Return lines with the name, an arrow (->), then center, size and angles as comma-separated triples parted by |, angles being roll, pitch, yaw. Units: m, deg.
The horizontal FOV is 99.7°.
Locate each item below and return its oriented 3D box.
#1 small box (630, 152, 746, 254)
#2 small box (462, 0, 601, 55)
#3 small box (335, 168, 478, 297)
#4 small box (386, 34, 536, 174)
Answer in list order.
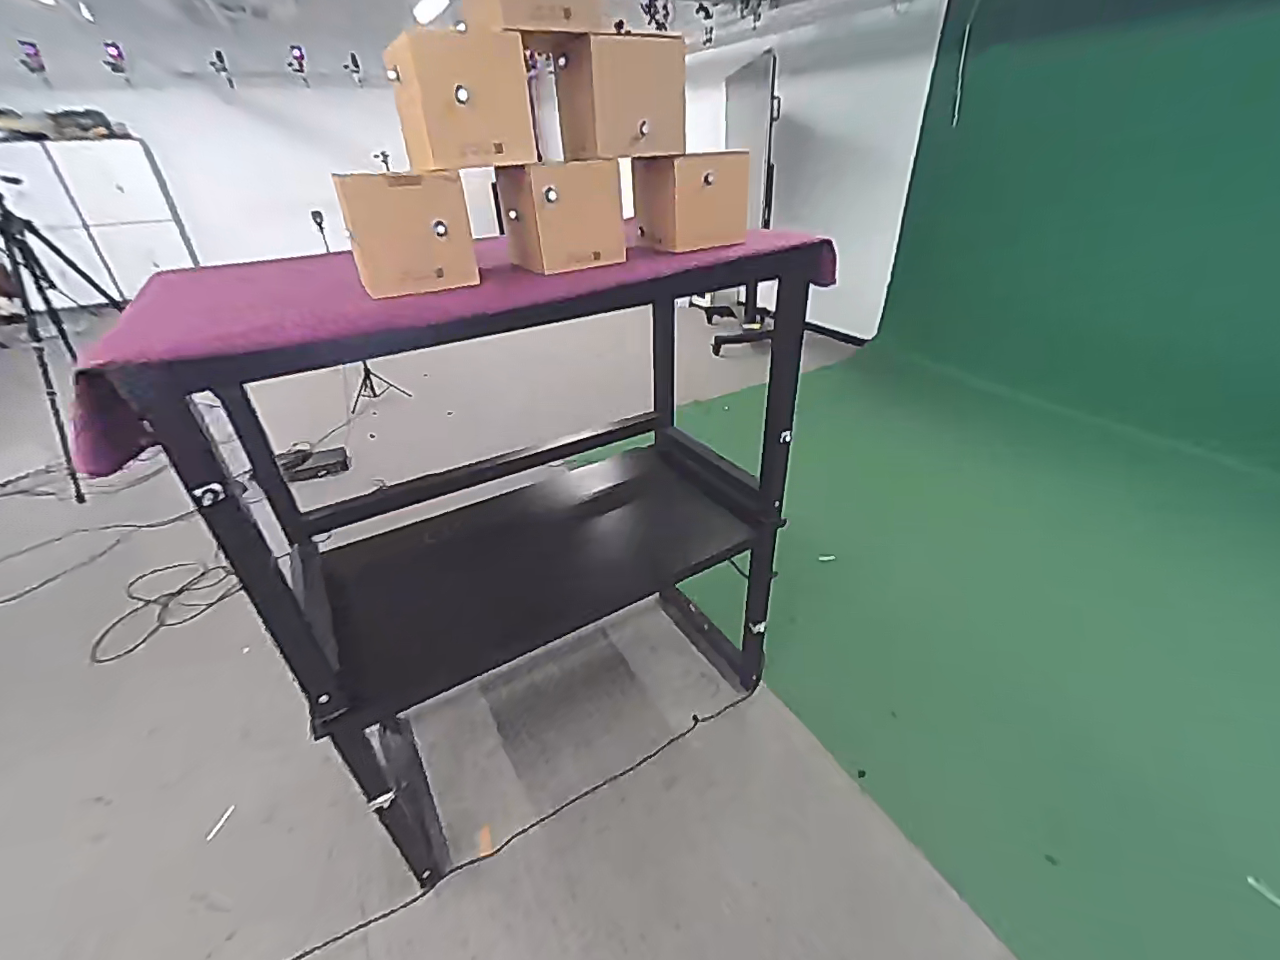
small box -> 0.097, -0.568, 1.108 | 0.179, 0.176, 0.168 | -19, 36, -25
small box -> -0.171, -0.763, 0.821 | 0.168, 0.176, 0.179 | -20, 35, -25
small box -> -0.374, -0.400, 0.873 | 0.168, 0.176, 0.179 | -18, 34, -24
small box -> -0.278, -0.581, 0.852 | 0.168, 0.176, 0.179 | -20, 35, -25
